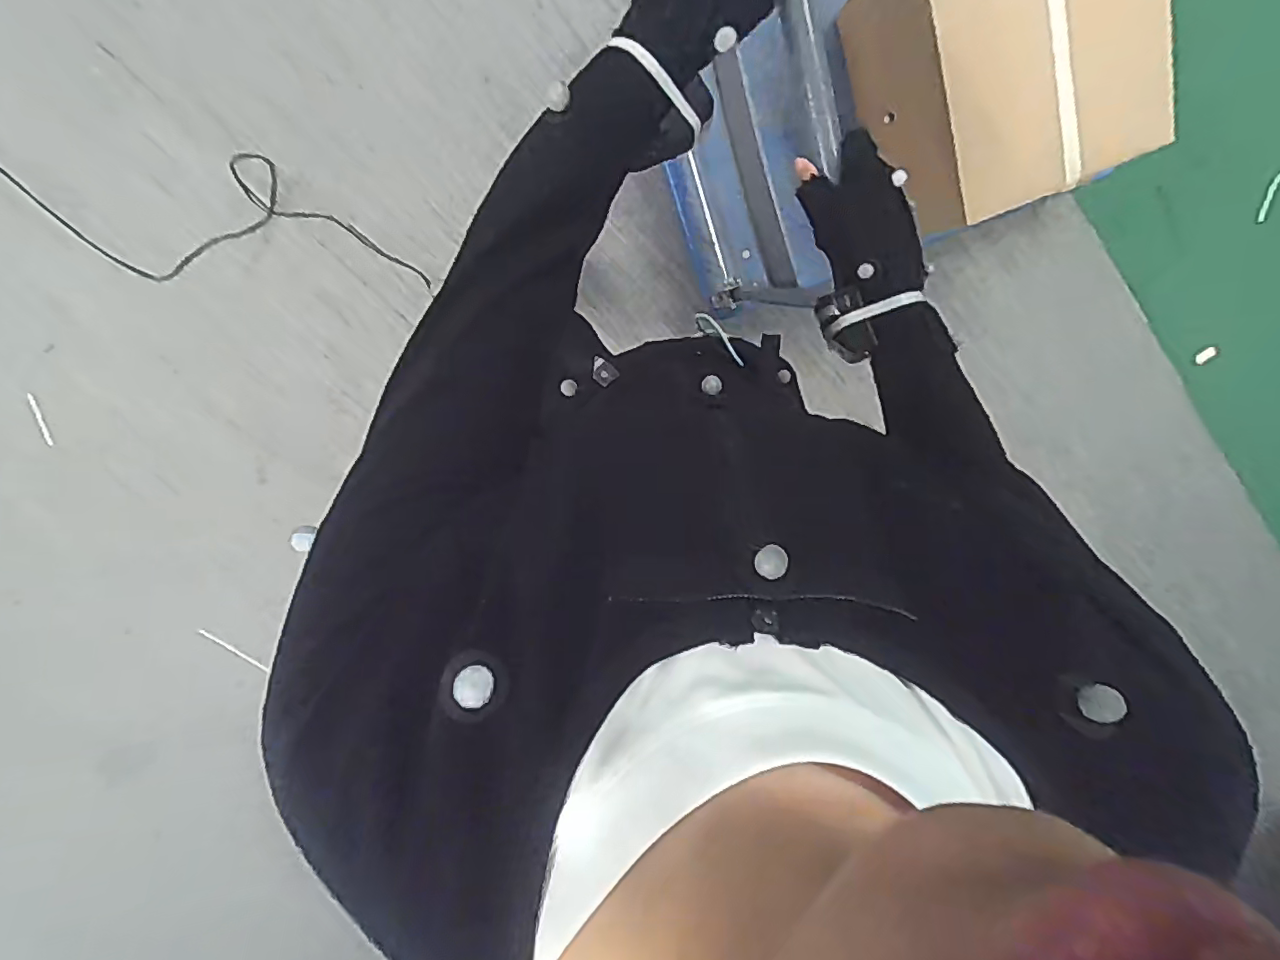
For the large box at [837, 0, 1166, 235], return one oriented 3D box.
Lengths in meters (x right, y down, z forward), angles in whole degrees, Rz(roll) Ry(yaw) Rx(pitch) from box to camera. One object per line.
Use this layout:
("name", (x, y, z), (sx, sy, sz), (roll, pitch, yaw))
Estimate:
("large box", (0.576, -0.684, 0.911), (0.320, 0.320, 0.408), (-21, 109, 6))
